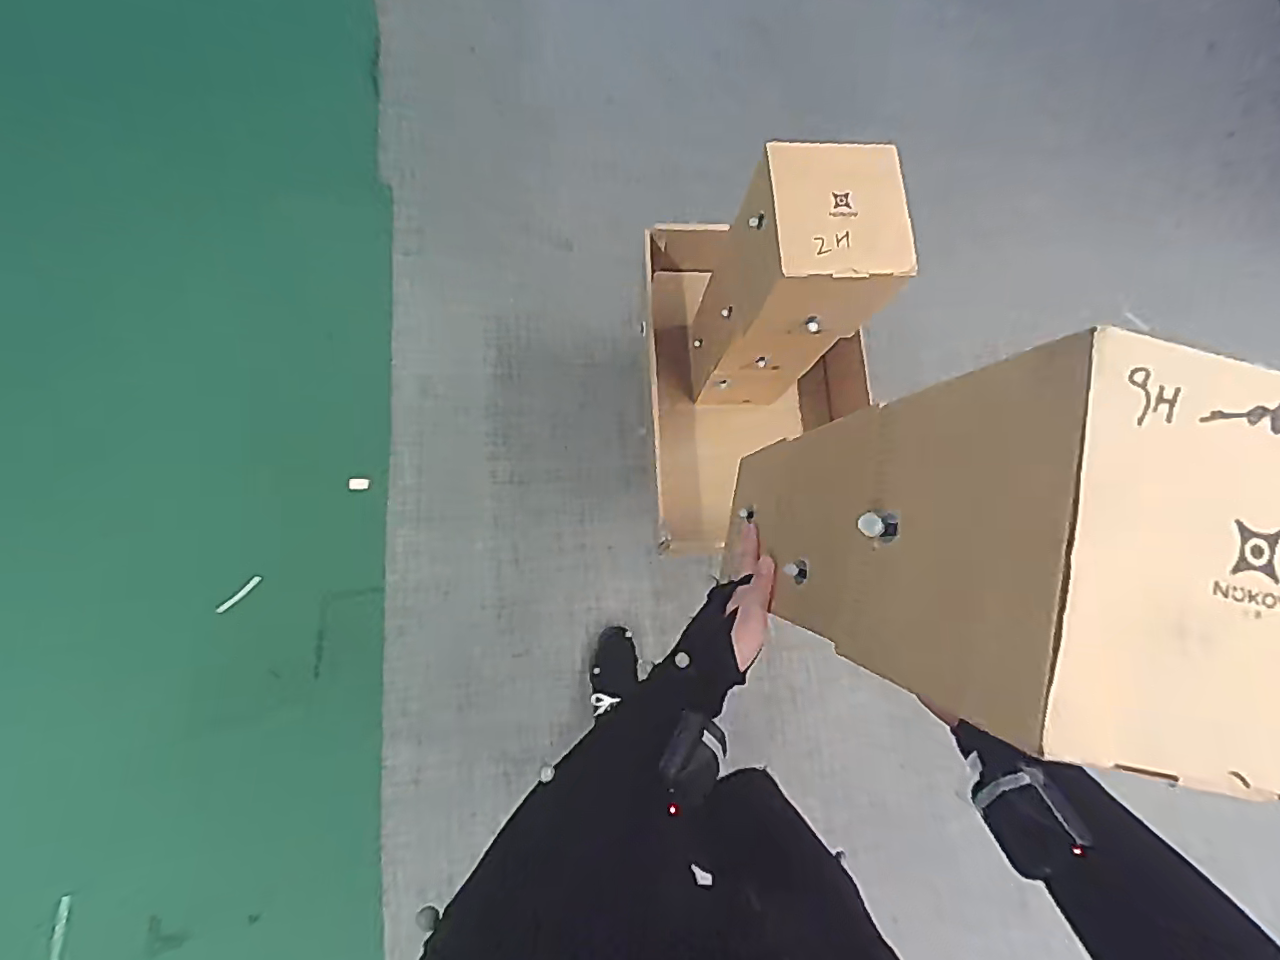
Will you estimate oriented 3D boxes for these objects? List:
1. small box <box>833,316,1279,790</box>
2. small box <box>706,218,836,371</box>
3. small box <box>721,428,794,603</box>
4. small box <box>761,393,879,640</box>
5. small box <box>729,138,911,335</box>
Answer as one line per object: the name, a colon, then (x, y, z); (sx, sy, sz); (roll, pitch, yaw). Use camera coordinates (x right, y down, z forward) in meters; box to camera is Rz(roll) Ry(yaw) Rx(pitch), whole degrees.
small box: (0.228, 0.036, 0.301); (0.168, 0.176, 0.179); (11, 86, -5)
small box: (0.205, -0.291, 0.873); (0.168, 0.176, 0.179); (-1, 80, -5)
small box: (0.198, 0.054, 0.626); (0.168, 0.176, 0.179); (11, 84, -4)
small box: (0.215, 0.044, 0.465); (0.168, 0.176, 0.179); (12, 84, -4)
small box: (0.220, -0.308, 0.709); (0.168, 0.176, 0.179); (-3, 80, -5)
